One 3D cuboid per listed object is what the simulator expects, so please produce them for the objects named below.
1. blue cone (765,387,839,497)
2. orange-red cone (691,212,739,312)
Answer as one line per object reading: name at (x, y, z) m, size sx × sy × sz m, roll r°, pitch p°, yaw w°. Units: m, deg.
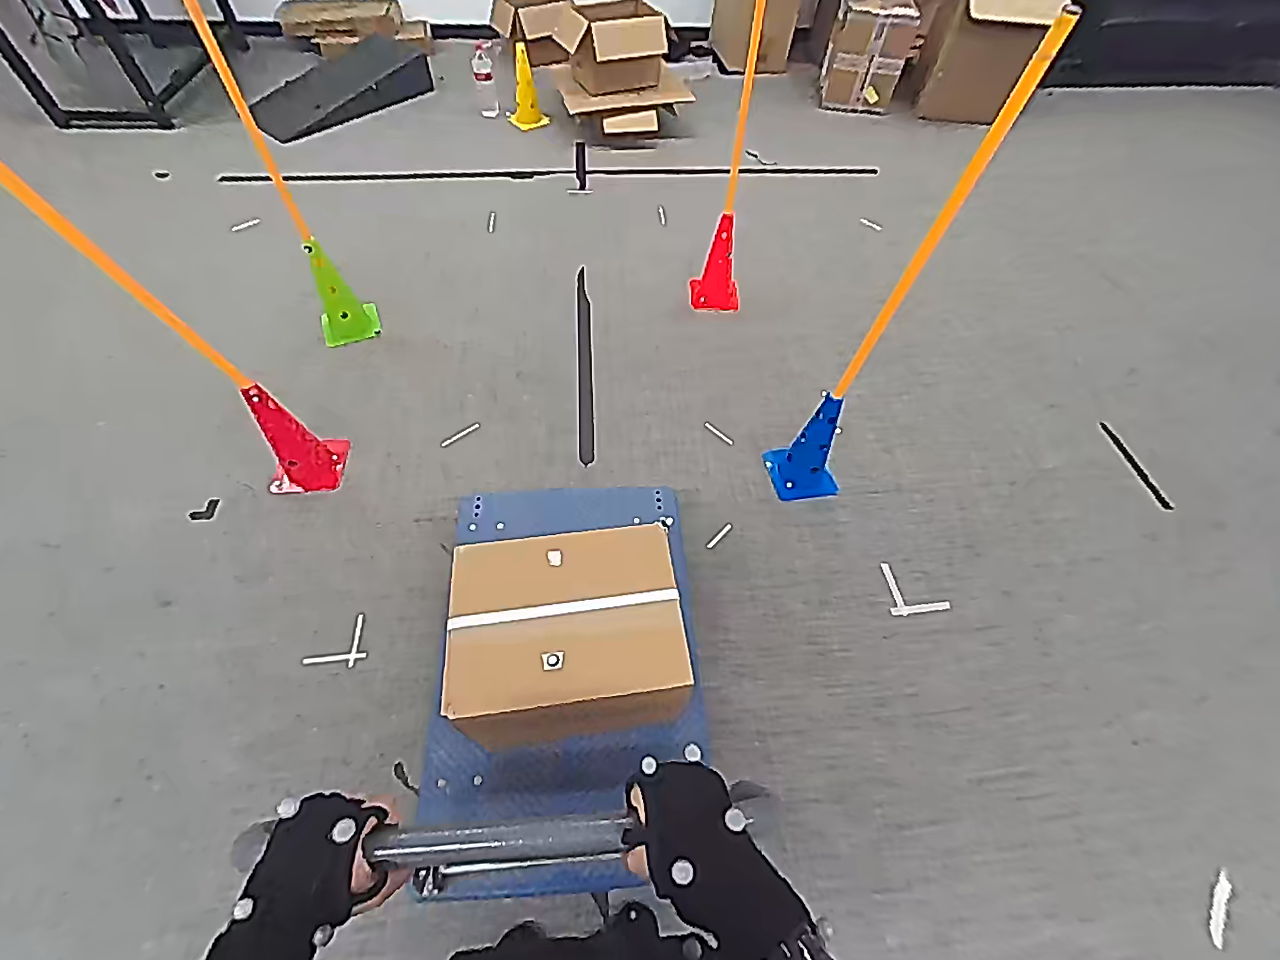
blue cone at (0.524, -0.124, 1.623) m, size 0.193 × 0.380 × 0.192 m, roll -6°, pitch 55°, yaw -7°
orange-red cone at (0.320, -0.866, 2.111) m, size 0.199 × 0.360 × 0.198 m, roll 3°, pitch 56°, yaw -2°
